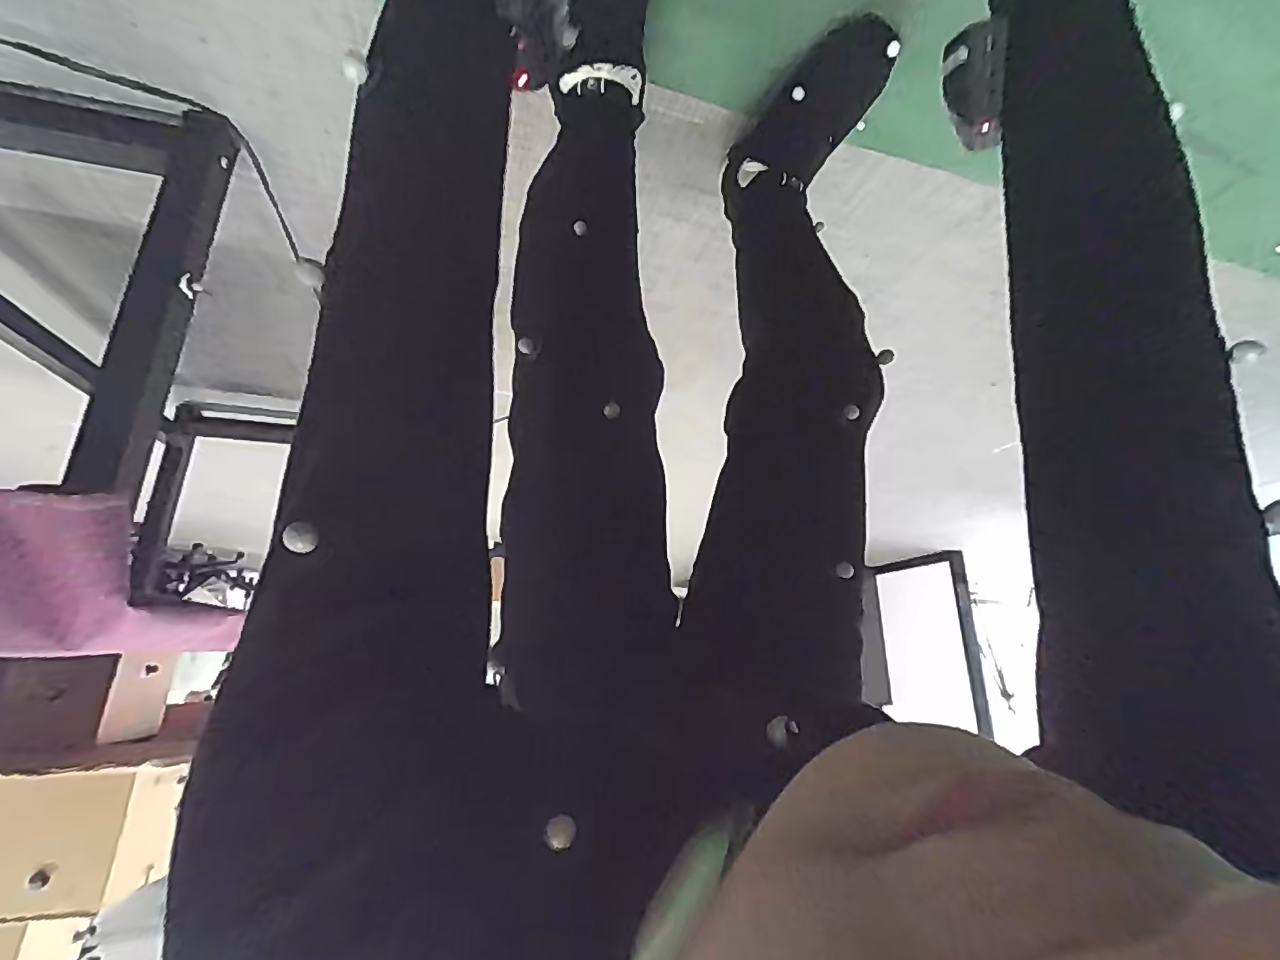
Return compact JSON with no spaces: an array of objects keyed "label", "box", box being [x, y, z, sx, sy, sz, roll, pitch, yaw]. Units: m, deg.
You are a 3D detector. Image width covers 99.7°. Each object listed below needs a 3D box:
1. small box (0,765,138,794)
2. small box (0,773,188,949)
[{"label":"small box","box":[-1.007,0.579,0.904,0.179,0.176,0.168,4,158,-14]},{"label":"small box","box":[-0.782,0.518,0.761,0.179,0.176,0.168,5,158,-13]}]
